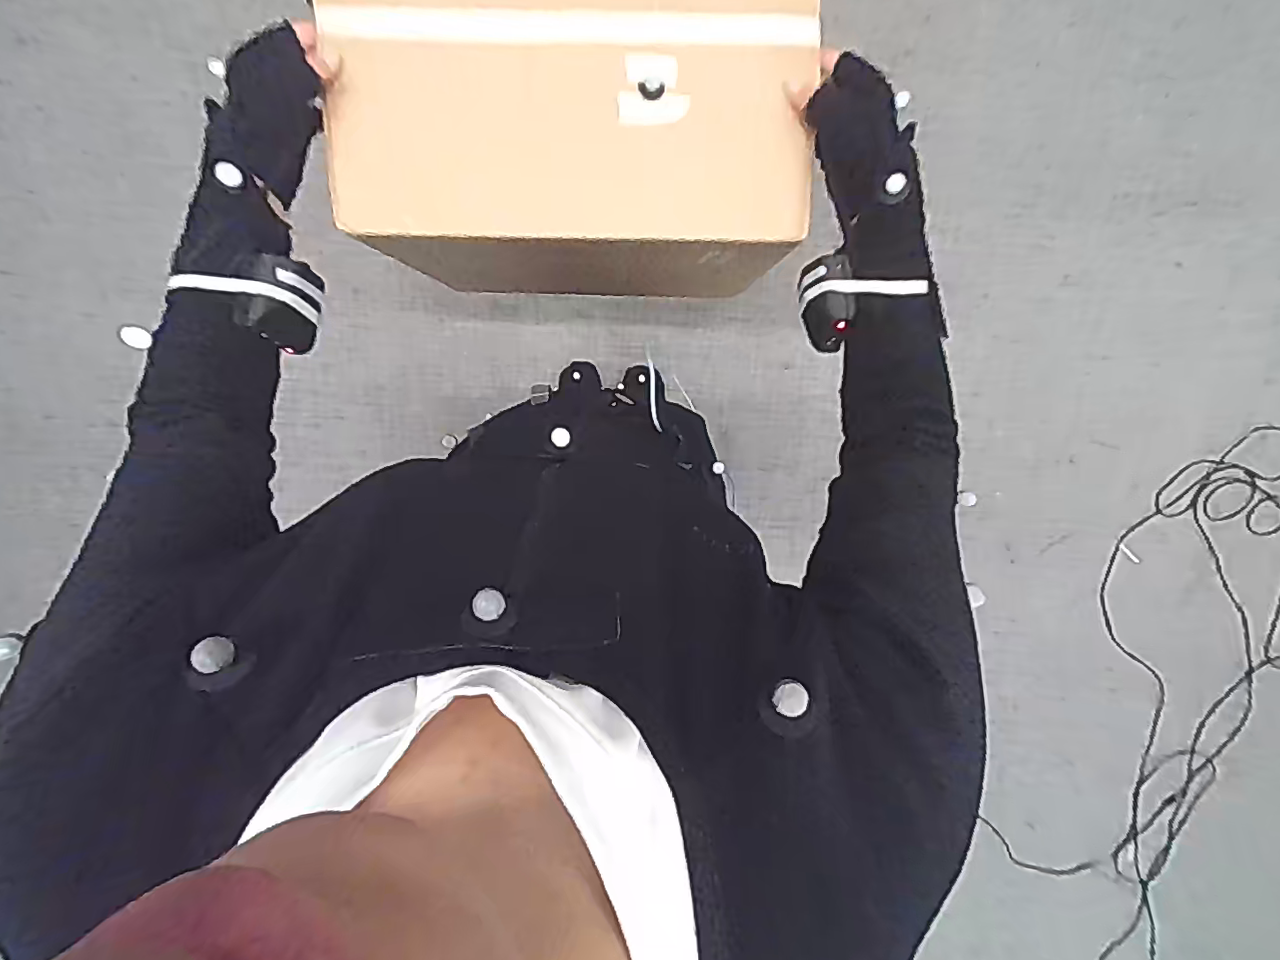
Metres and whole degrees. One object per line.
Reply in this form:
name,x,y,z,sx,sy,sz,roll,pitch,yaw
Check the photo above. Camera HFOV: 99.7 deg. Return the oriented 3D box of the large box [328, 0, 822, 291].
large box,-0.056,-0.391,0.580,0.408,0.320,0.320,0,101,-1
